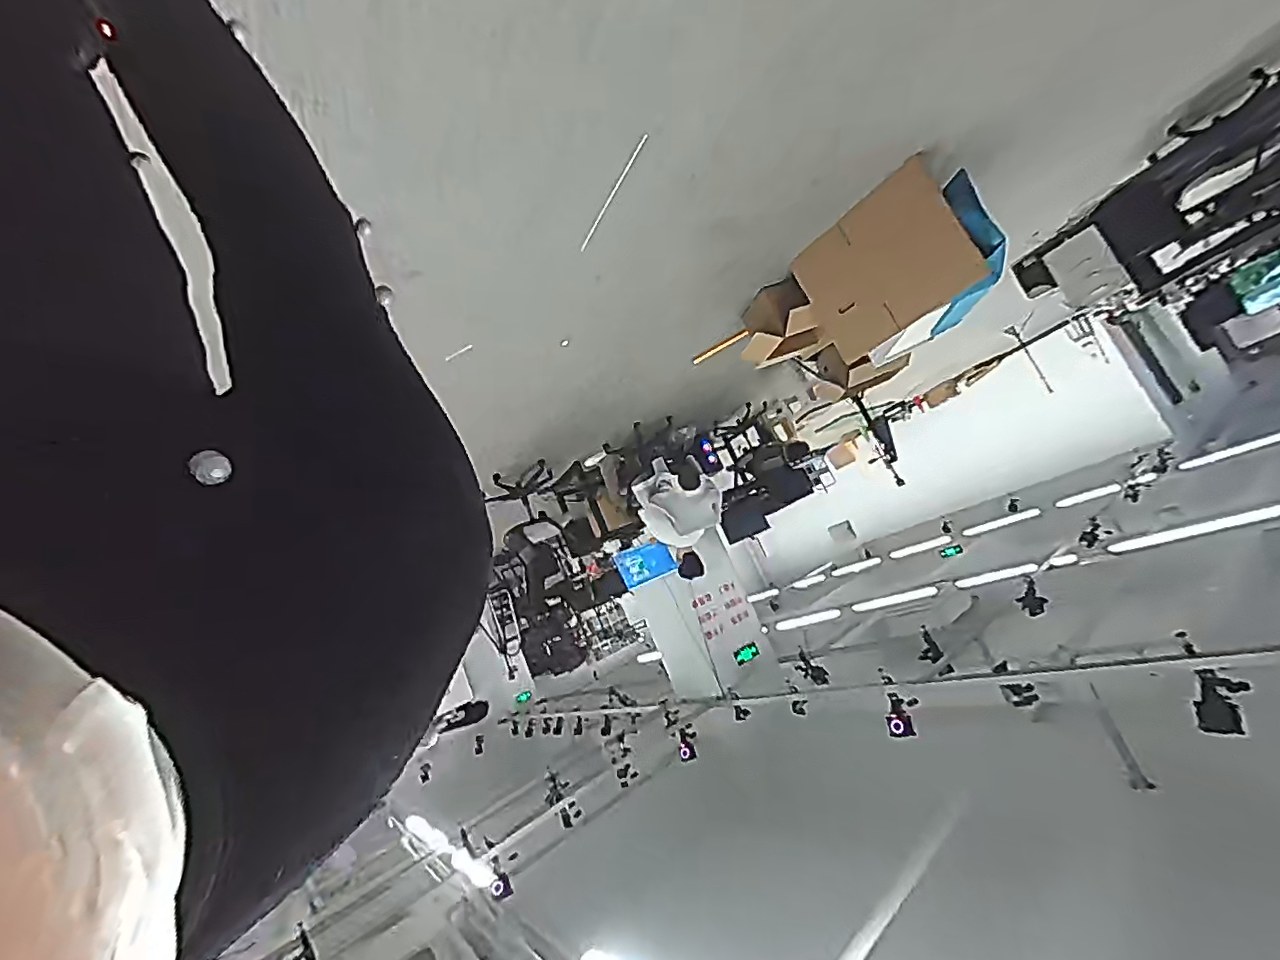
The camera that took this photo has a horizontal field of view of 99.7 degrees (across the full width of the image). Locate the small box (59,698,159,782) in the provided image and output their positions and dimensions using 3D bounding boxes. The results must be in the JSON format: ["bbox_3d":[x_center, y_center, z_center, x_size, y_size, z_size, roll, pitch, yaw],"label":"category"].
[{"bbox_3d":[-1.572,0.763,1.604,0.168,0.176,0.179,-16,168,-35],"label":"small box"}]

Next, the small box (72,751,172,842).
[{"bbox_3d":[-1.510,0.913,1.579,0.168,0.176,0.179,-16,167,-35],"label":"small box"}]

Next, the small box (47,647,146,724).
[{"bbox_3d":[-1.639,0.619,1.635,0.168,0.176,0.179,-16,167,-36],"label":"small box"}]
